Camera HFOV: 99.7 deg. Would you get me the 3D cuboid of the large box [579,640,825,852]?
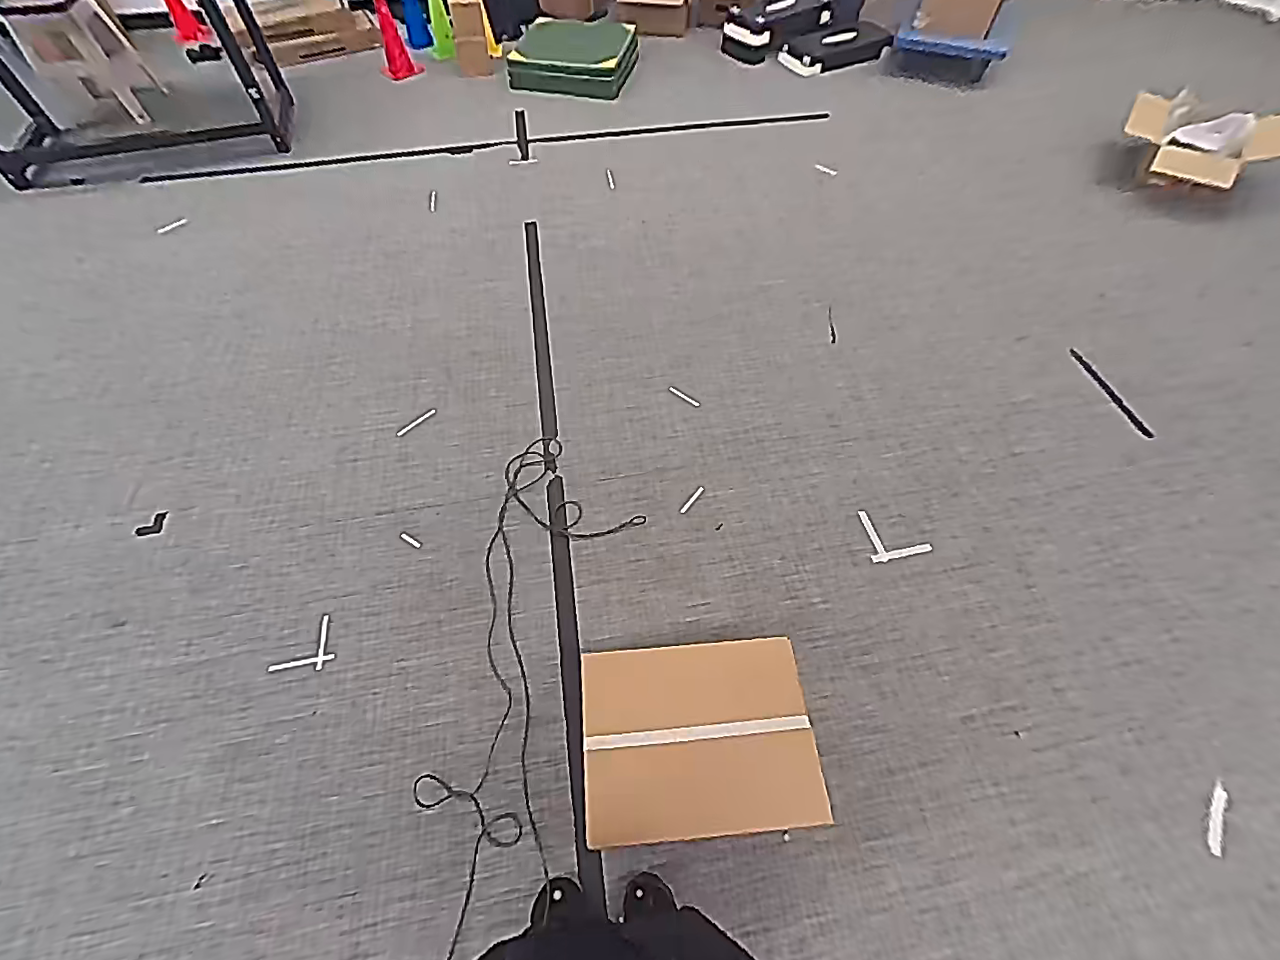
[{"bbox_3d":[0.096,0.534,1.084,0.408,0.320,0.320,-4,56,-3],"label":"large box"}]
